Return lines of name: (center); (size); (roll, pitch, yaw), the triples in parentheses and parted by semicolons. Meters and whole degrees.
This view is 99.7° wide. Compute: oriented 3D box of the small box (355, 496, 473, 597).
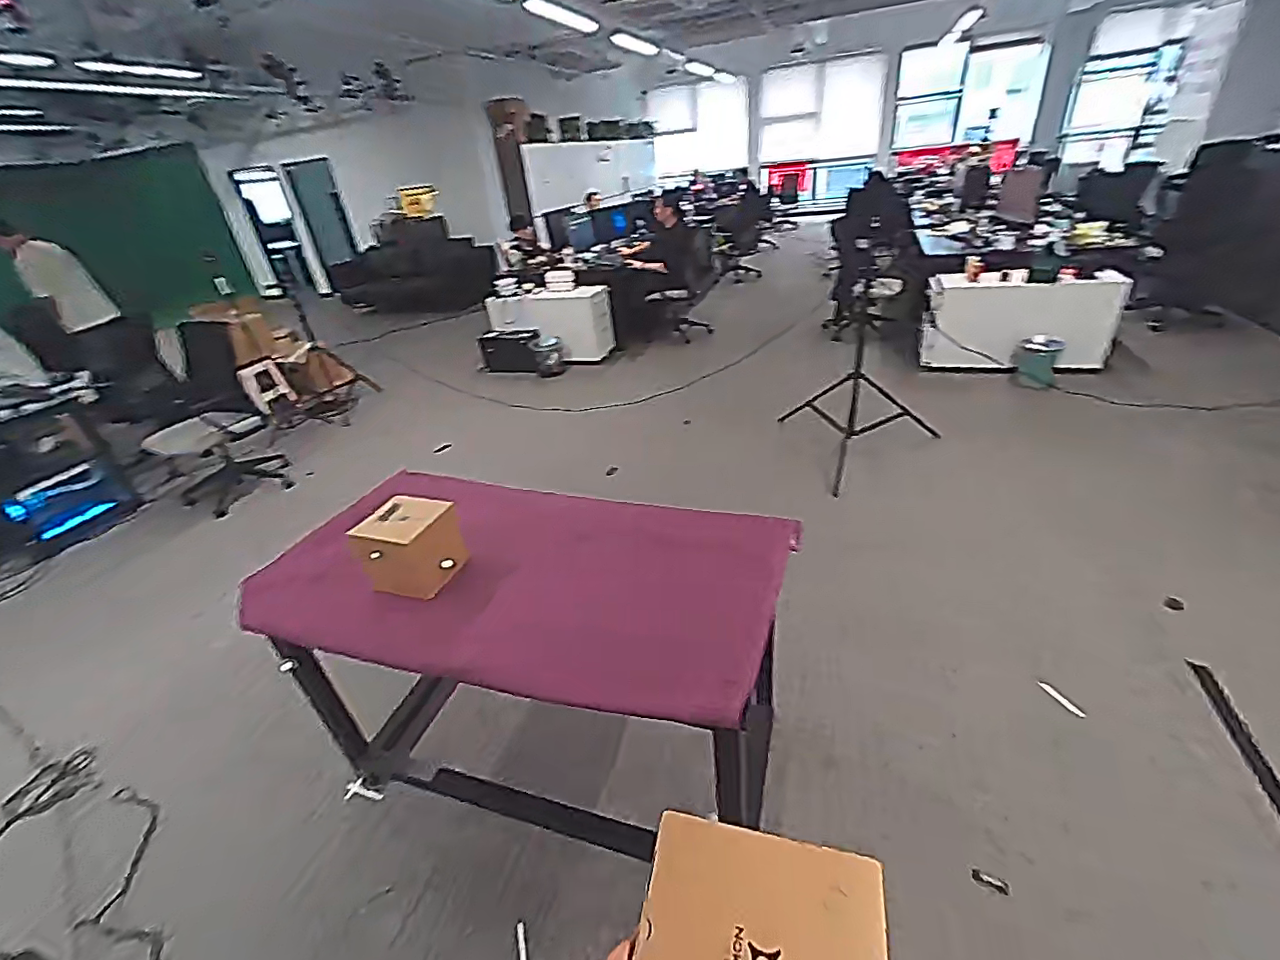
small box: (-0.535, 0.159, 1.301); (0.179, 0.176, 0.168); (6, 33, 20)

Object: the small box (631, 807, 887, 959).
small box: (0.093, 0.396, 0.431); (0.179, 0.176, 0.168); (2, 41, 16)
